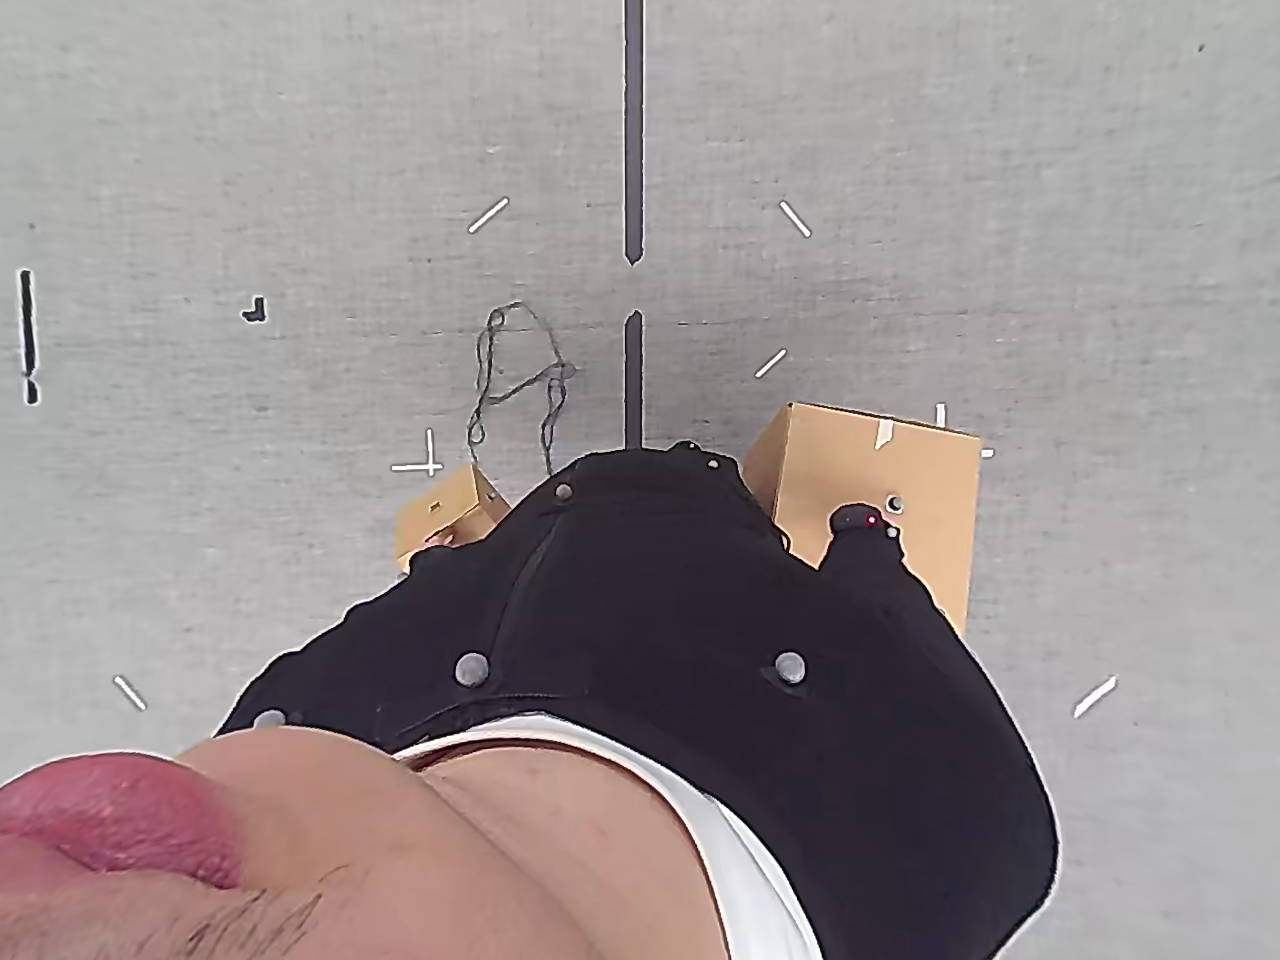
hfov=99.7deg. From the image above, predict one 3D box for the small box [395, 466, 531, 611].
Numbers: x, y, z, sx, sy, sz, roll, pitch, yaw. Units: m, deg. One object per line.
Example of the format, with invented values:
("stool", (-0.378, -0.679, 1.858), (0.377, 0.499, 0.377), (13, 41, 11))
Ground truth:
("small box", (-0.317, 0.112, 0.983), (0.168, 0.179, 0.176), (-34, 123, -3))
